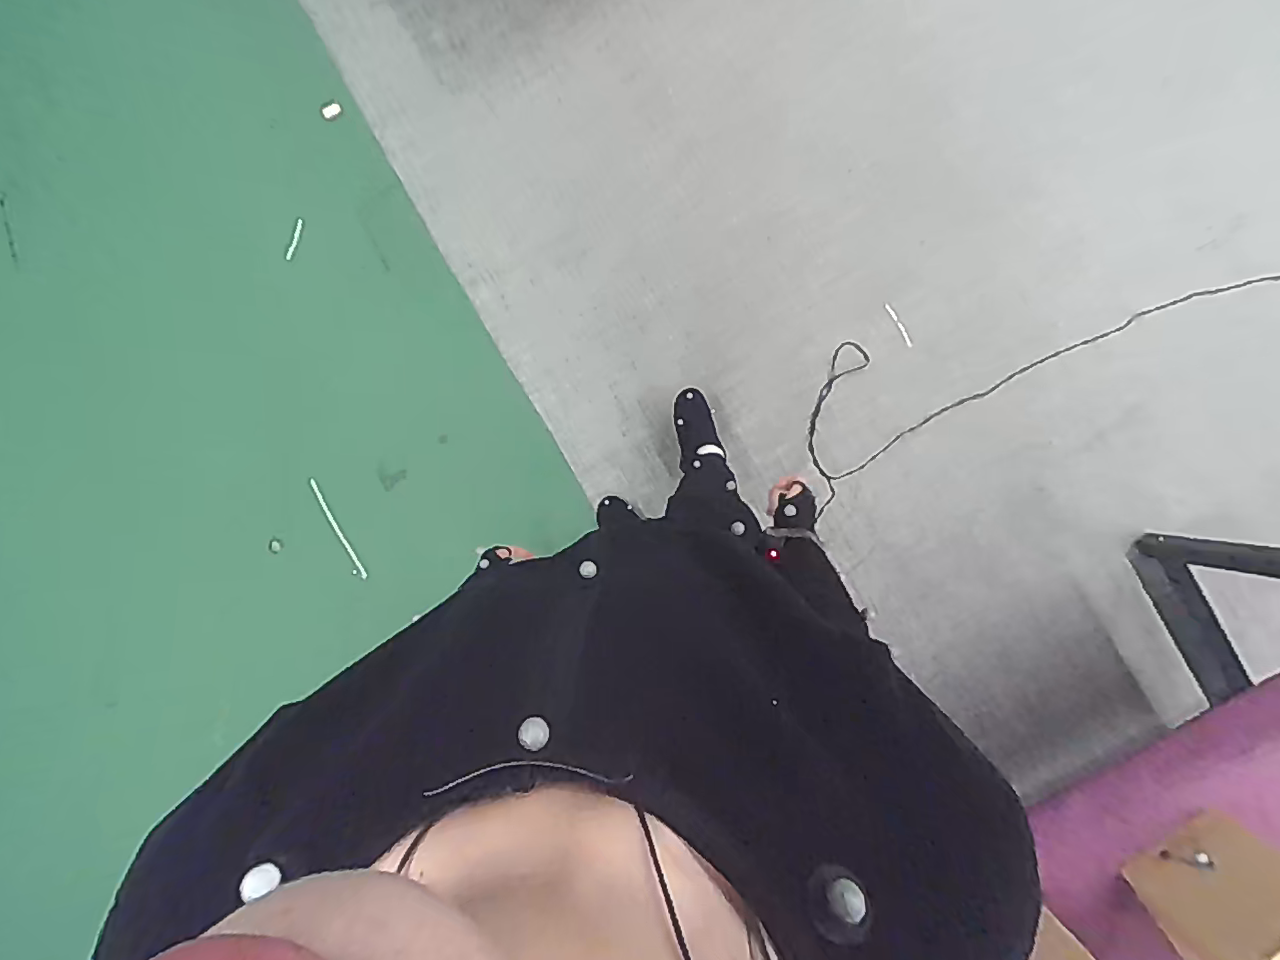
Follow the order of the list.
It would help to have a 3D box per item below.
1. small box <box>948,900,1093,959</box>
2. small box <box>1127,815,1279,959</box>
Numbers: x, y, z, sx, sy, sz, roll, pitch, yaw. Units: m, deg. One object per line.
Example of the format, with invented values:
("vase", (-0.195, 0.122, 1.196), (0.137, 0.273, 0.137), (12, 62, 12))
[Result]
("small box", (0.536, 0.711, 0.699), (0.179, 0.176, 0.168), (-33, 90, 0))
("small box", (0.807, 0.588, 0.696), (0.168, 0.176, 0.179), (-36, 91, 0))
